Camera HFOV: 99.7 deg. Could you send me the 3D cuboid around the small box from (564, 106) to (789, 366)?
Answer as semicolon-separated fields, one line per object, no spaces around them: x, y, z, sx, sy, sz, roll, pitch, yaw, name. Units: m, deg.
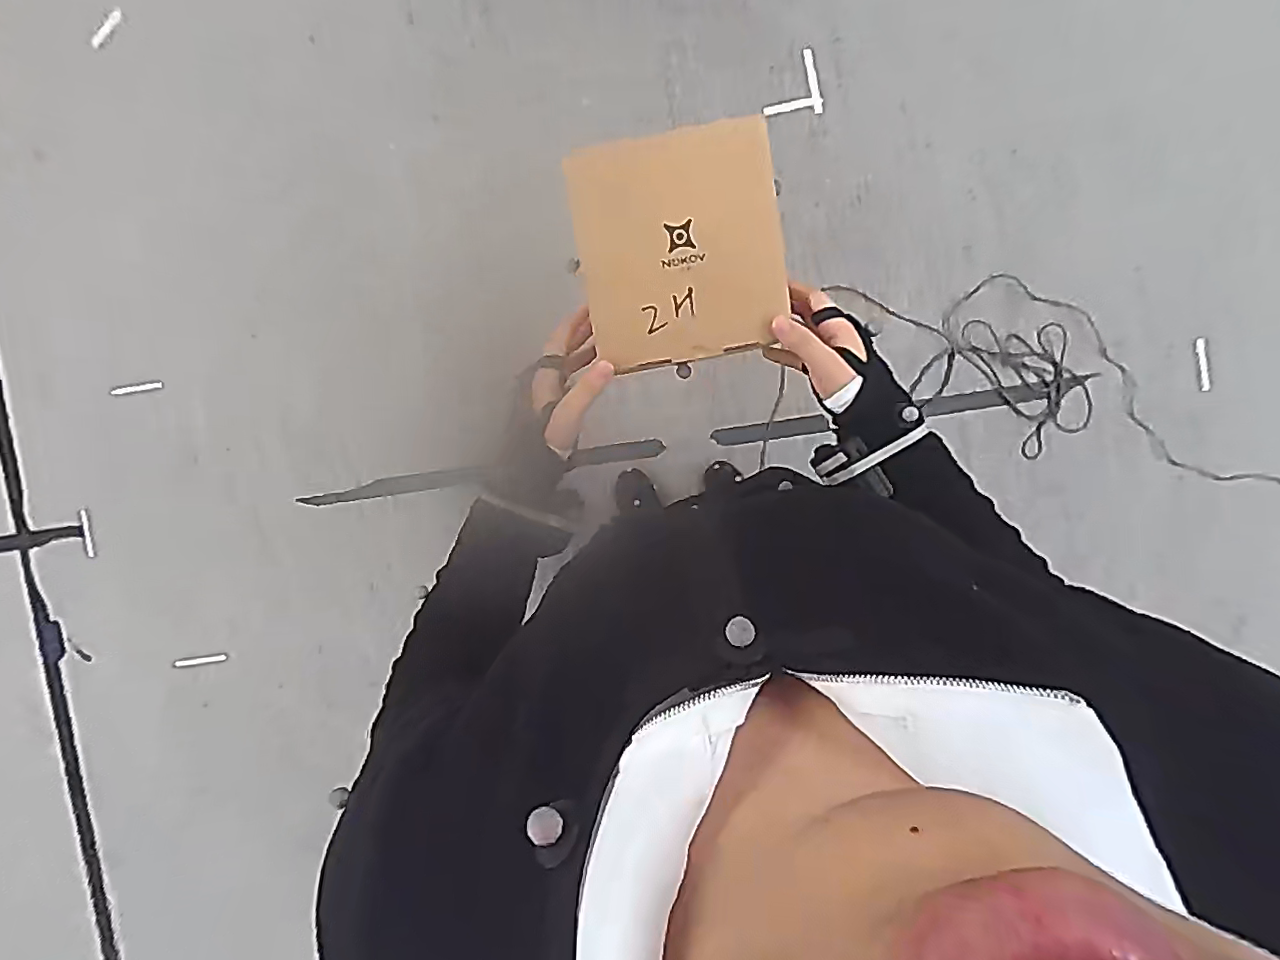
0.029;-0.211;0.516;0.168;0.176;0.179;-10;100;0;small box
